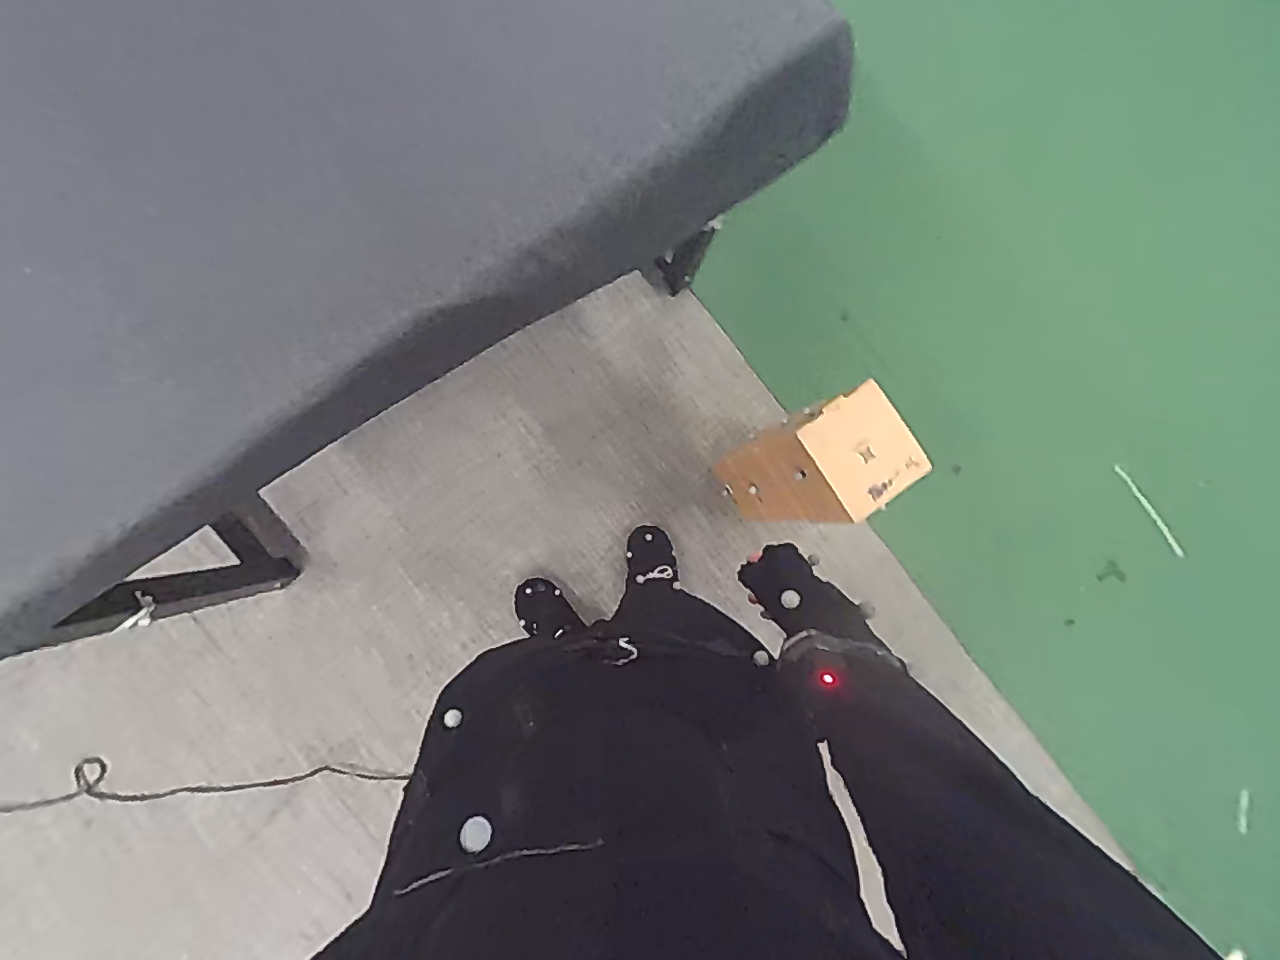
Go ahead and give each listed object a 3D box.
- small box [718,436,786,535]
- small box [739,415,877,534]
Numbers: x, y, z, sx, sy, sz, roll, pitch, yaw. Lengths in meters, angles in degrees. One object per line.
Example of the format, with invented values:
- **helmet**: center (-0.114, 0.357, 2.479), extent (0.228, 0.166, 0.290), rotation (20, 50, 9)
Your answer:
- **small box**: center (0.306, 0.012, 1.257), extent (0.179, 0.176, 0.168), rotation (-34, 88, -7)
- **small box**: center (0.329, -0.006, 1.095), extent (0.179, 0.176, 0.168), rotation (-34, 88, -8)
